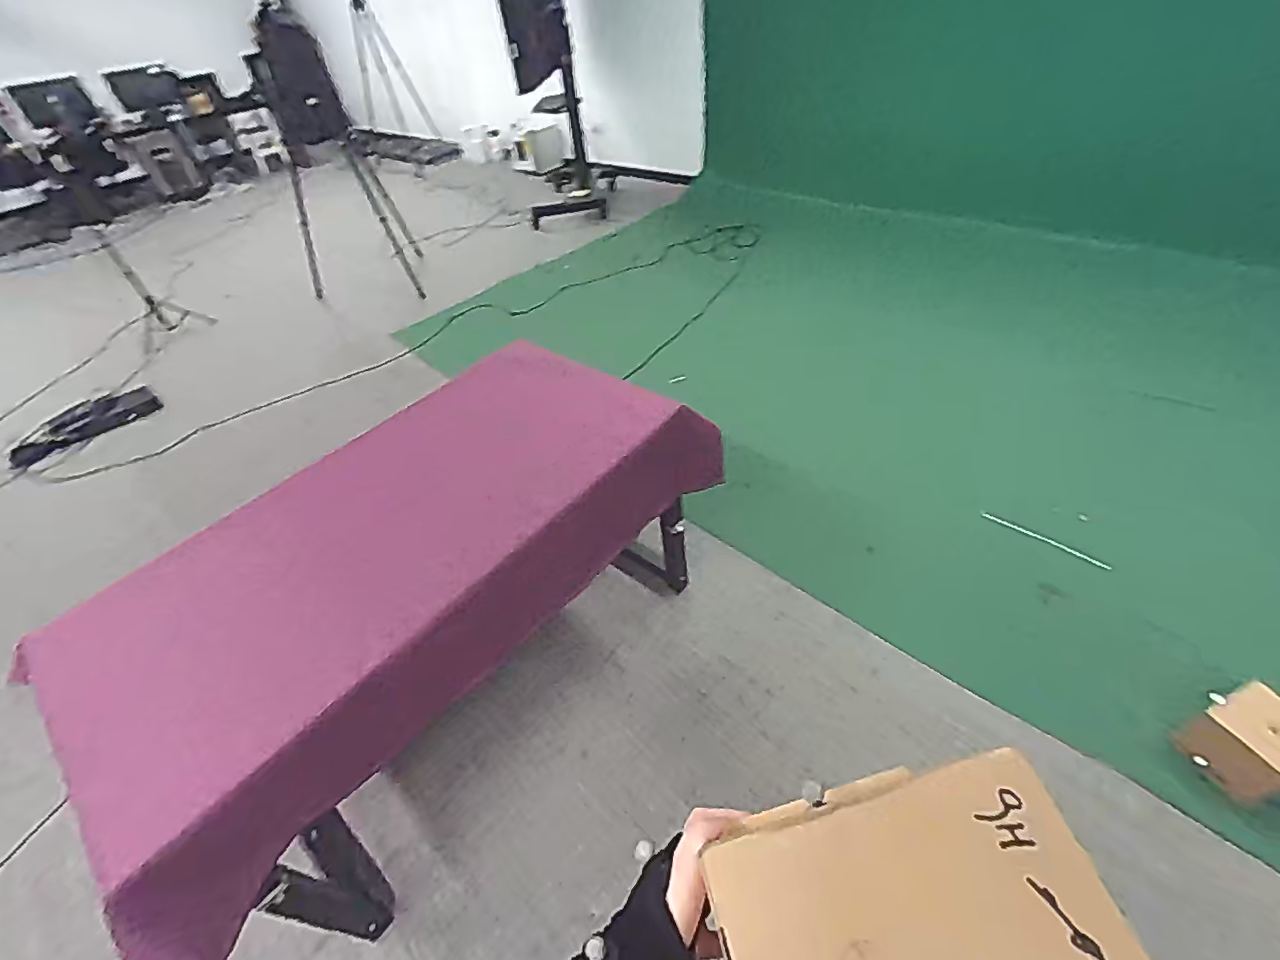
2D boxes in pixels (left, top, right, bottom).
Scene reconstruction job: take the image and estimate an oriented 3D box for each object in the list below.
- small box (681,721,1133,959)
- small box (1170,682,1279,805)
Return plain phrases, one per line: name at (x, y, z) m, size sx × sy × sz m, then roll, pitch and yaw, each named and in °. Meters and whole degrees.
small box at (0.136, 0.261, 0.307) m, size 0.179 × 0.176 × 0.168 m, roll -17°, pitch 56°, yaw -3°
small box at (1.380, 0.598, 1.226) m, size 0.179 × 0.176 × 0.168 m, roll -20°, pitch 44°, yaw -12°
